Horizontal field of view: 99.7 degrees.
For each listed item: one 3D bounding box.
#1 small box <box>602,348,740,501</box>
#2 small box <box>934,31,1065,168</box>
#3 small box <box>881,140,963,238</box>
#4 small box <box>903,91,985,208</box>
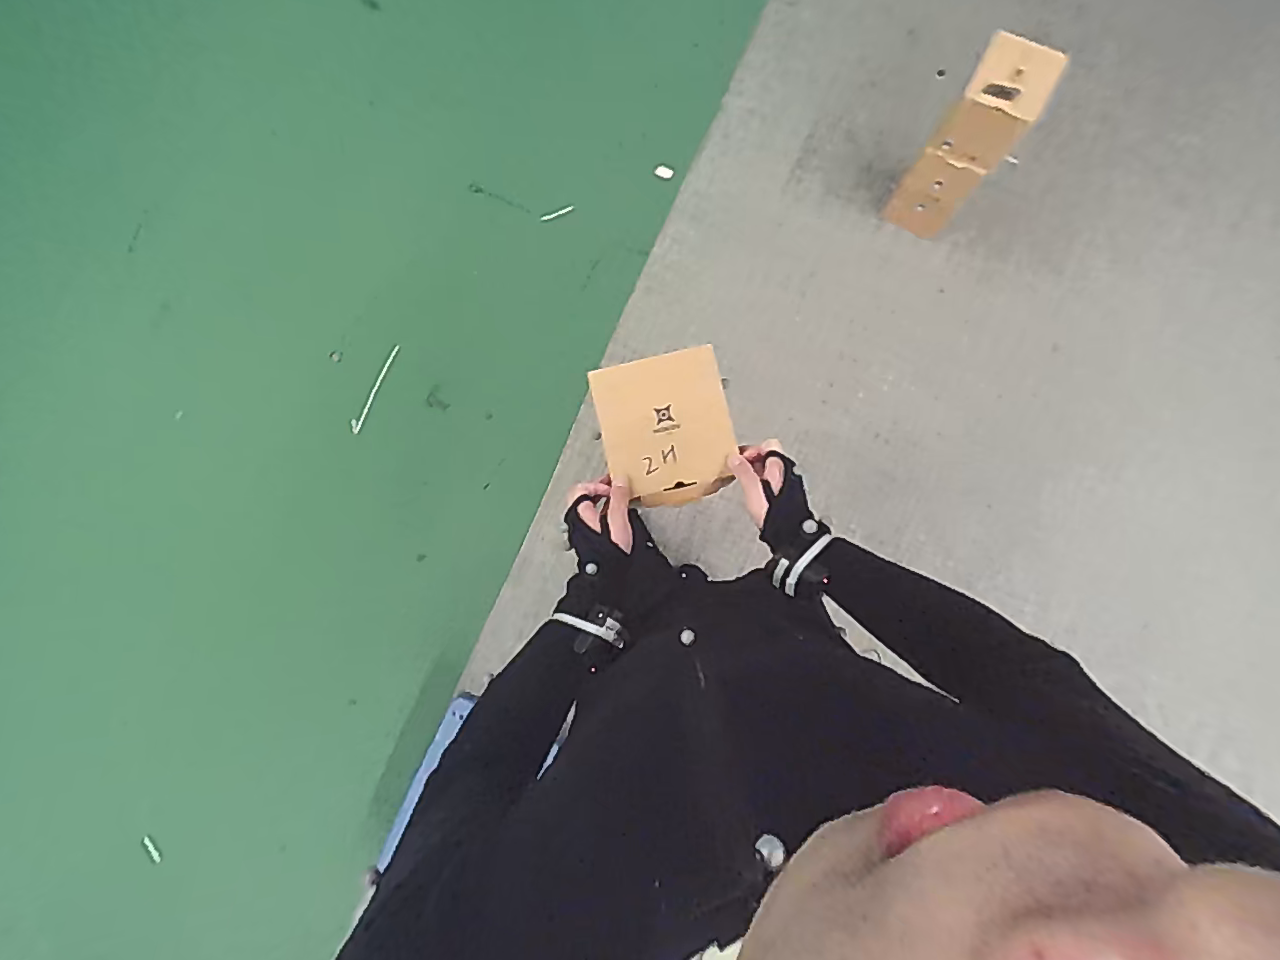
[{"bbox_3d":[0.042,-0.067,0.755,0.168,0.176,0.179,-5,85,4],"label":"small box"},{"bbox_3d":[0.824,-0.876,1.263,0.168,0.176,0.179,27,88,6],"label":"small box"},{"bbox_3d":[0.845,-0.850,1.590,0.179,0.176,0.168,29,89,6],"label":"small box"},{"bbox_3d":[0.825,-0.861,1.428,0.168,0.176,0.179,28,90,6],"label":"small box"}]
